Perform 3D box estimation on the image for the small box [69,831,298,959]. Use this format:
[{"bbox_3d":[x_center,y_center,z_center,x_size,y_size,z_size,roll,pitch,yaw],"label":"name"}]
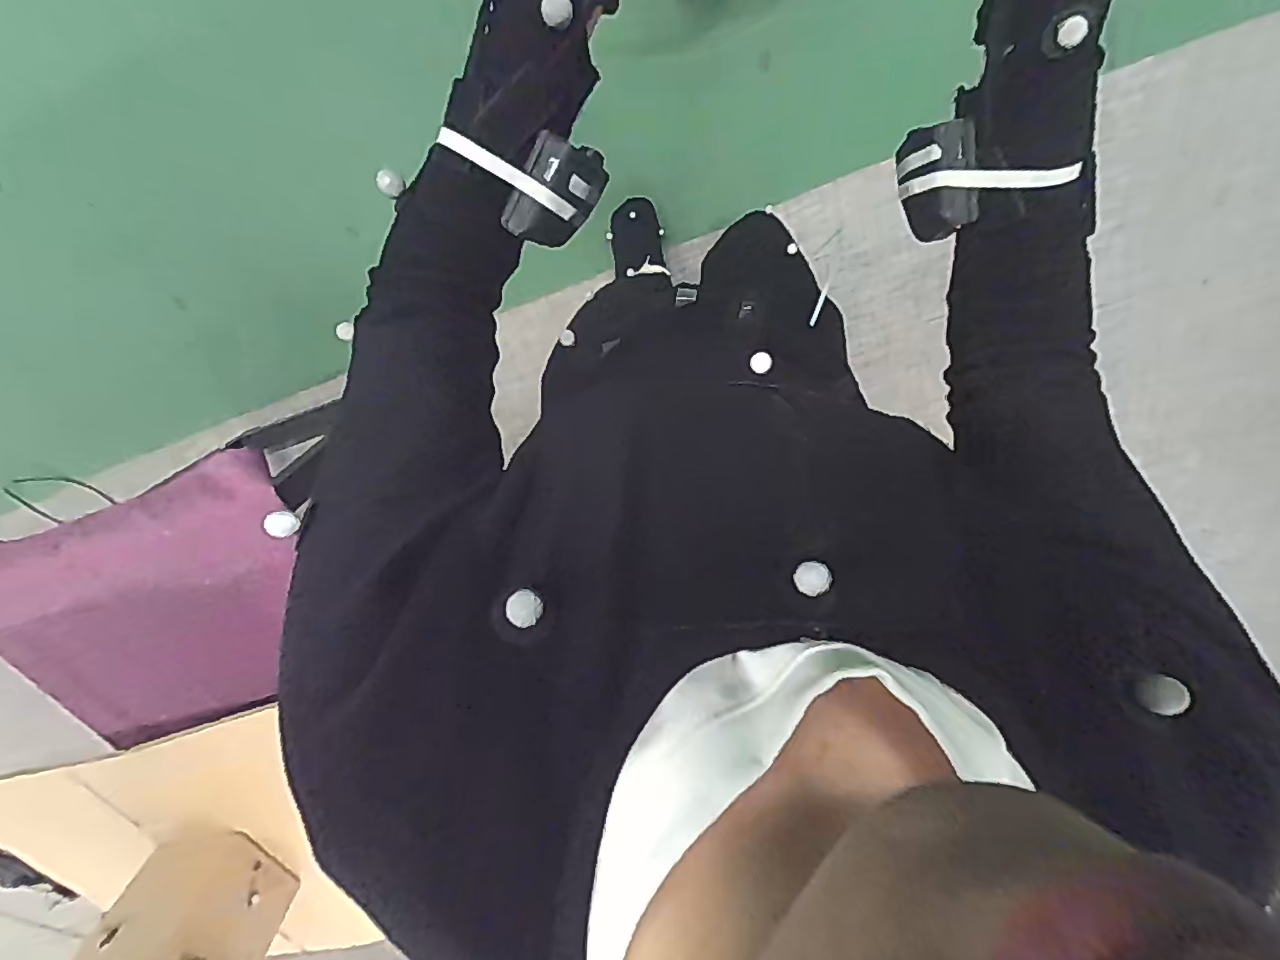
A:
[{"bbox_3d":[-0.688,0.680,0.838,0.179,0.176,0.168,-15,118,10],"label":"small box"}]
